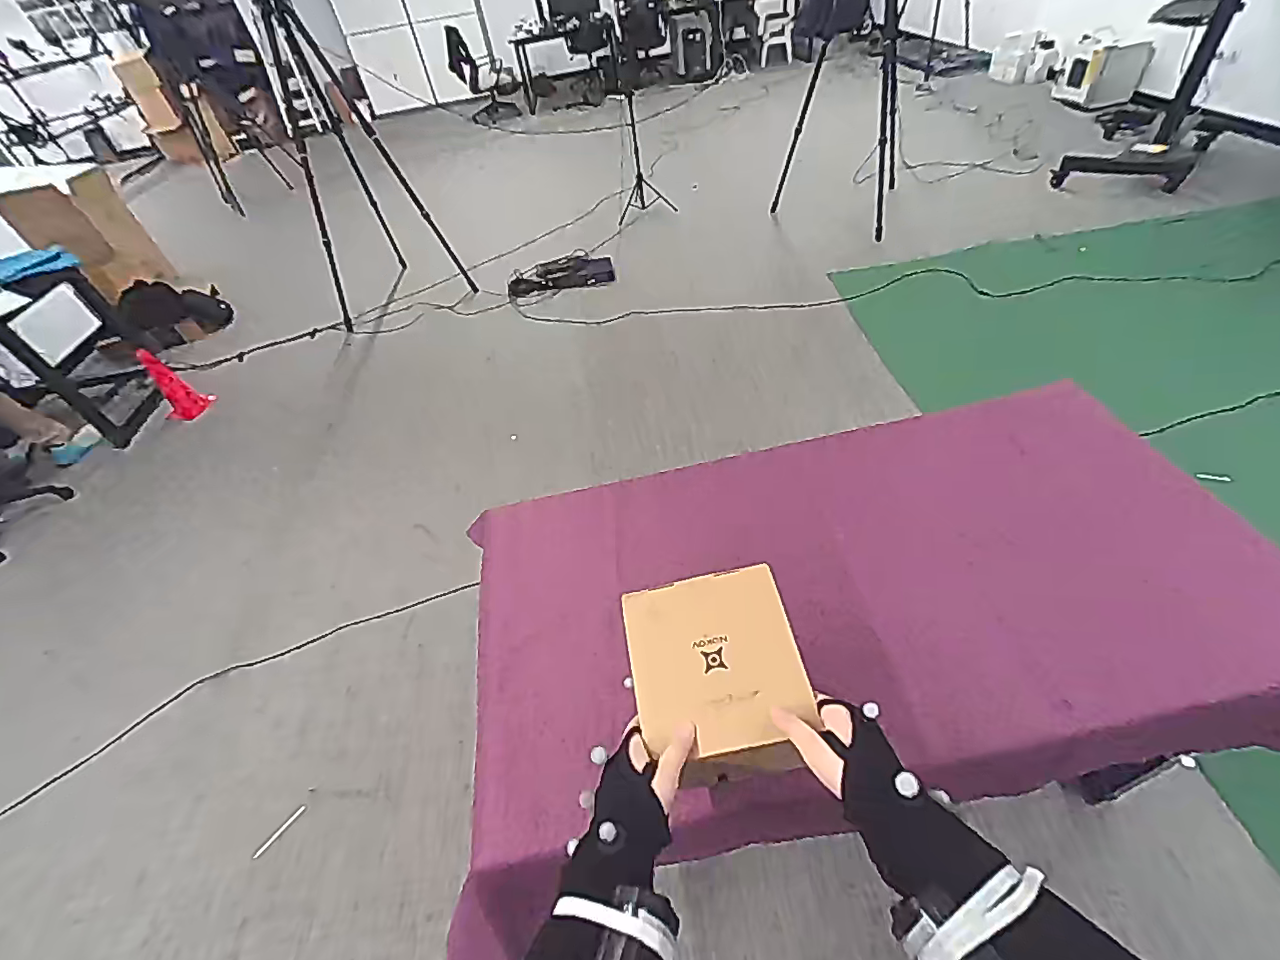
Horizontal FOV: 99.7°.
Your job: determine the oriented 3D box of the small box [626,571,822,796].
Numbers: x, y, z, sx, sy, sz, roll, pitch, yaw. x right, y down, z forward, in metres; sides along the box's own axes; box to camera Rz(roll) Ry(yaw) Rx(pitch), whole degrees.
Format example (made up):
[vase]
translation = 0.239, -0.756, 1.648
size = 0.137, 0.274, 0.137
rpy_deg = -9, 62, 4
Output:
[small box]
translation = 0.086, 0.229, 0.601
size = 0.168, 0.176, 0.179
rpy_deg = -12, 52, 3
